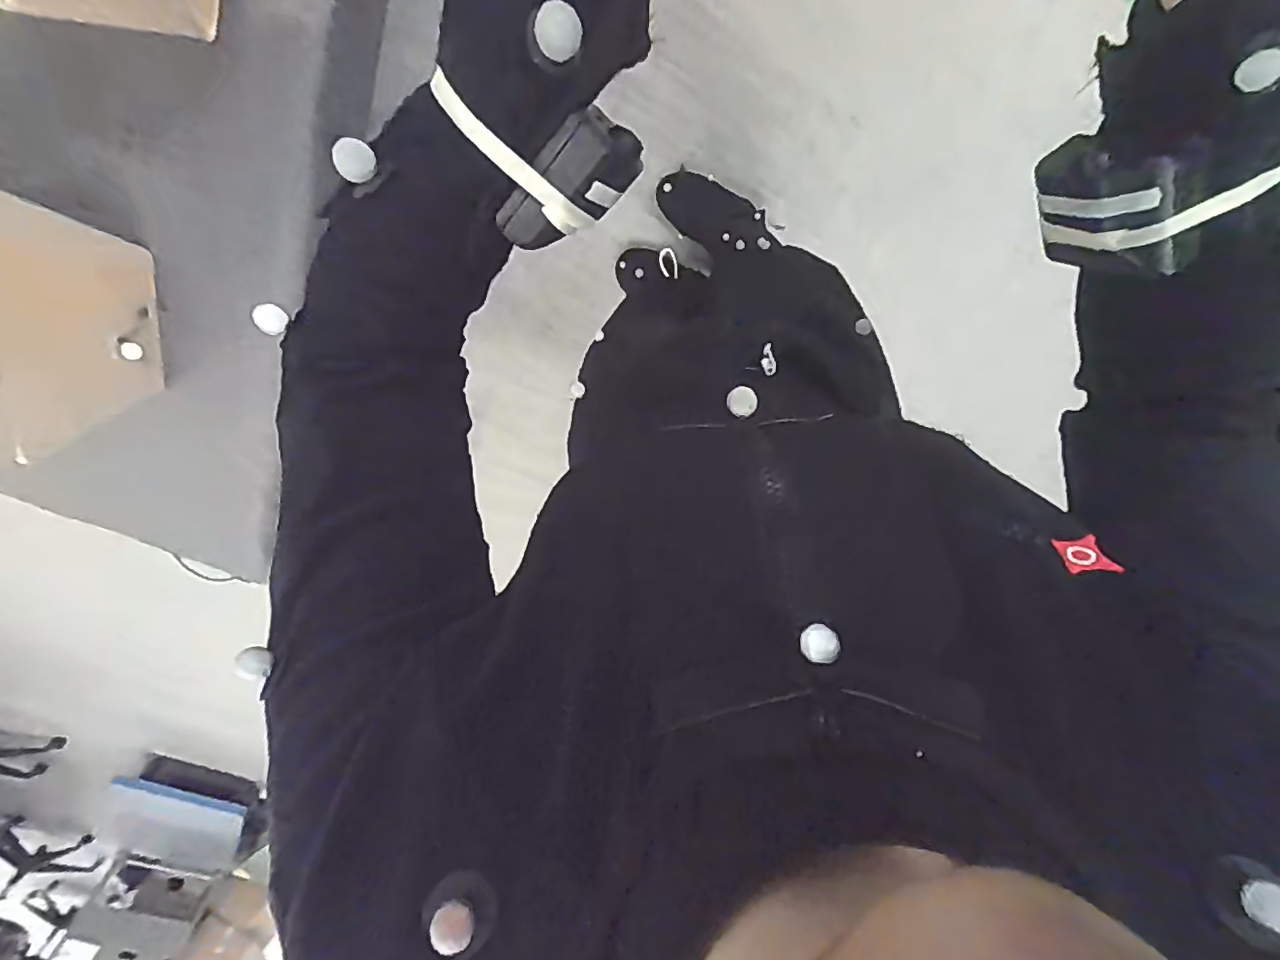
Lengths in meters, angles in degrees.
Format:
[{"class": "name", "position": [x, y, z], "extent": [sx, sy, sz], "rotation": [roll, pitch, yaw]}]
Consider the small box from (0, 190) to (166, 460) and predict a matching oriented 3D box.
[{"class": "small box", "position": [-0.592, -0.152, 0.493], "extent": [0.179, 0.176, 0.168], "rotation": [21, 123, -11]}]

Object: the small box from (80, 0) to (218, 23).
[{"class": "small box", "position": [-0.380, -0.407, 0.307], "extent": [0.179, 0.176, 0.168], "rotation": [27, 121, -14]}]
